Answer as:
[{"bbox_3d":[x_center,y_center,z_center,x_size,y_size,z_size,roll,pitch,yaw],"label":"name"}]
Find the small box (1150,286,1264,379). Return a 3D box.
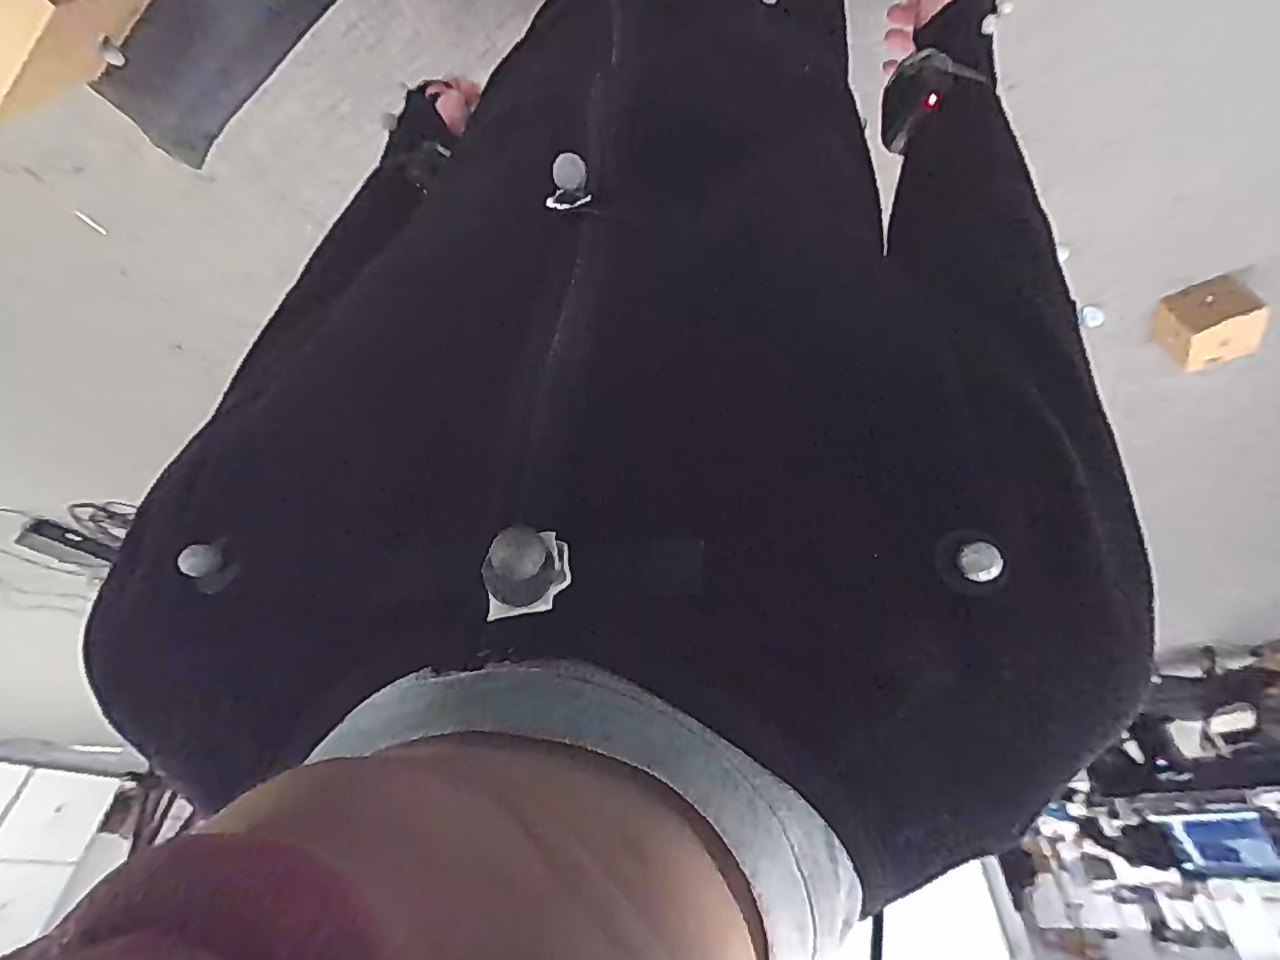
[{"bbox_3d":[1.638,-0.437,1.575,0.168,0.176,0.179,-22,136,25],"label":"small box"}]
